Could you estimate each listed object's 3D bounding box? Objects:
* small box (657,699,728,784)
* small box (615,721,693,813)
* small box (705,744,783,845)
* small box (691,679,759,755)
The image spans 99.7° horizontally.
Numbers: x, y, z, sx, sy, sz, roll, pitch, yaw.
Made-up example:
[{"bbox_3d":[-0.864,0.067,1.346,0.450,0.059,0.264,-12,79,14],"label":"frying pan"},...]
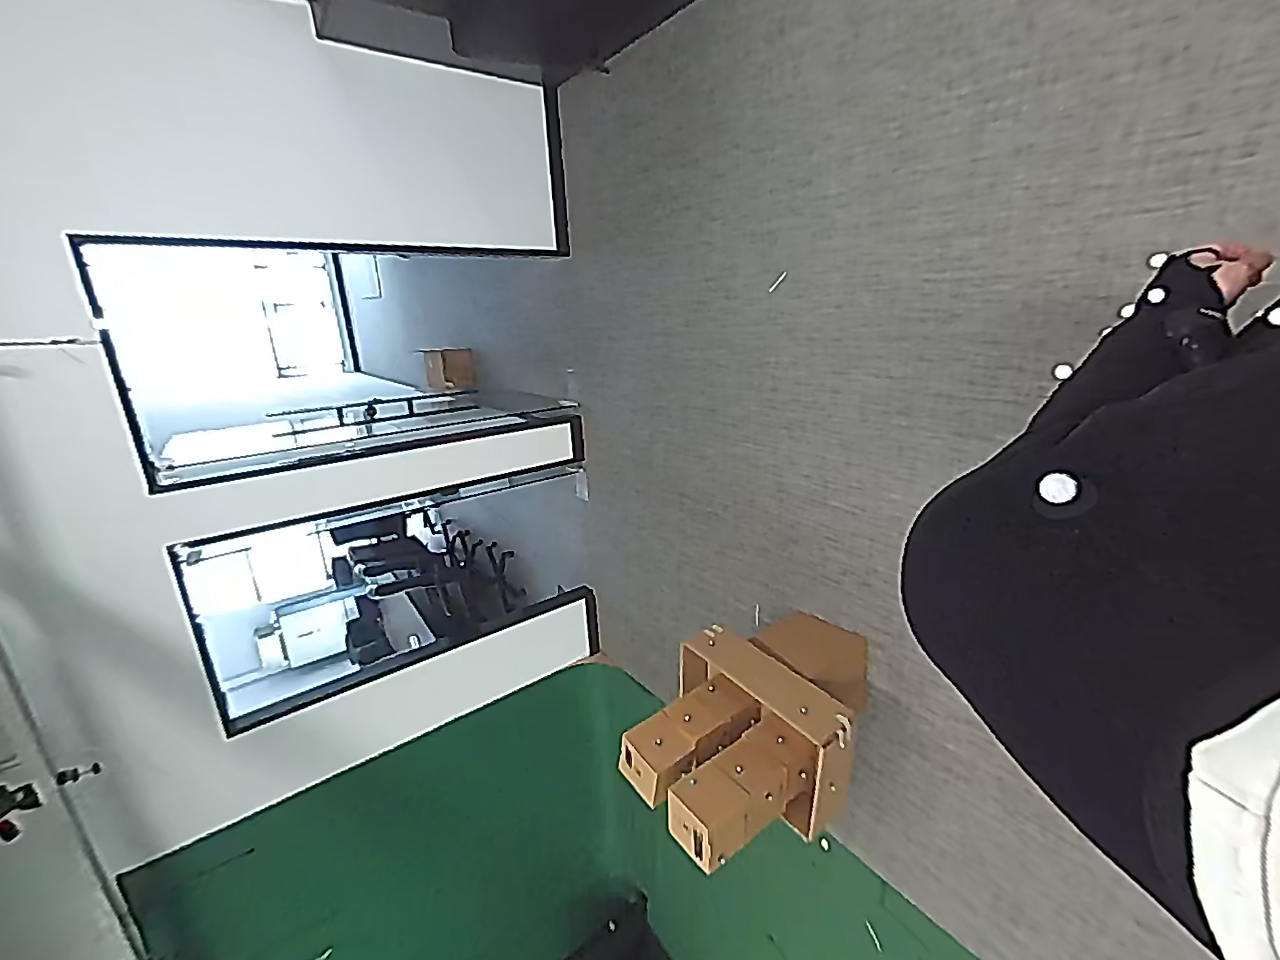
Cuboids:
[{"bbox_3d":[0.174,0.871,1.829,0.179,0.176,0.168,20,117,48],"label":"small box"},{"bbox_3d":[0.043,0.907,1.736,0.179,0.176,0.168,31,125,42],"label":"small box"},{"bbox_3d":[0.317,0.948,1.649,0.179,0.176,0.168,21,117,51],"label":"small box"},{"bbox_3d":[0.299,0.838,1.925,0.179,0.176,0.168,22,119,49],"label":"small box"}]
